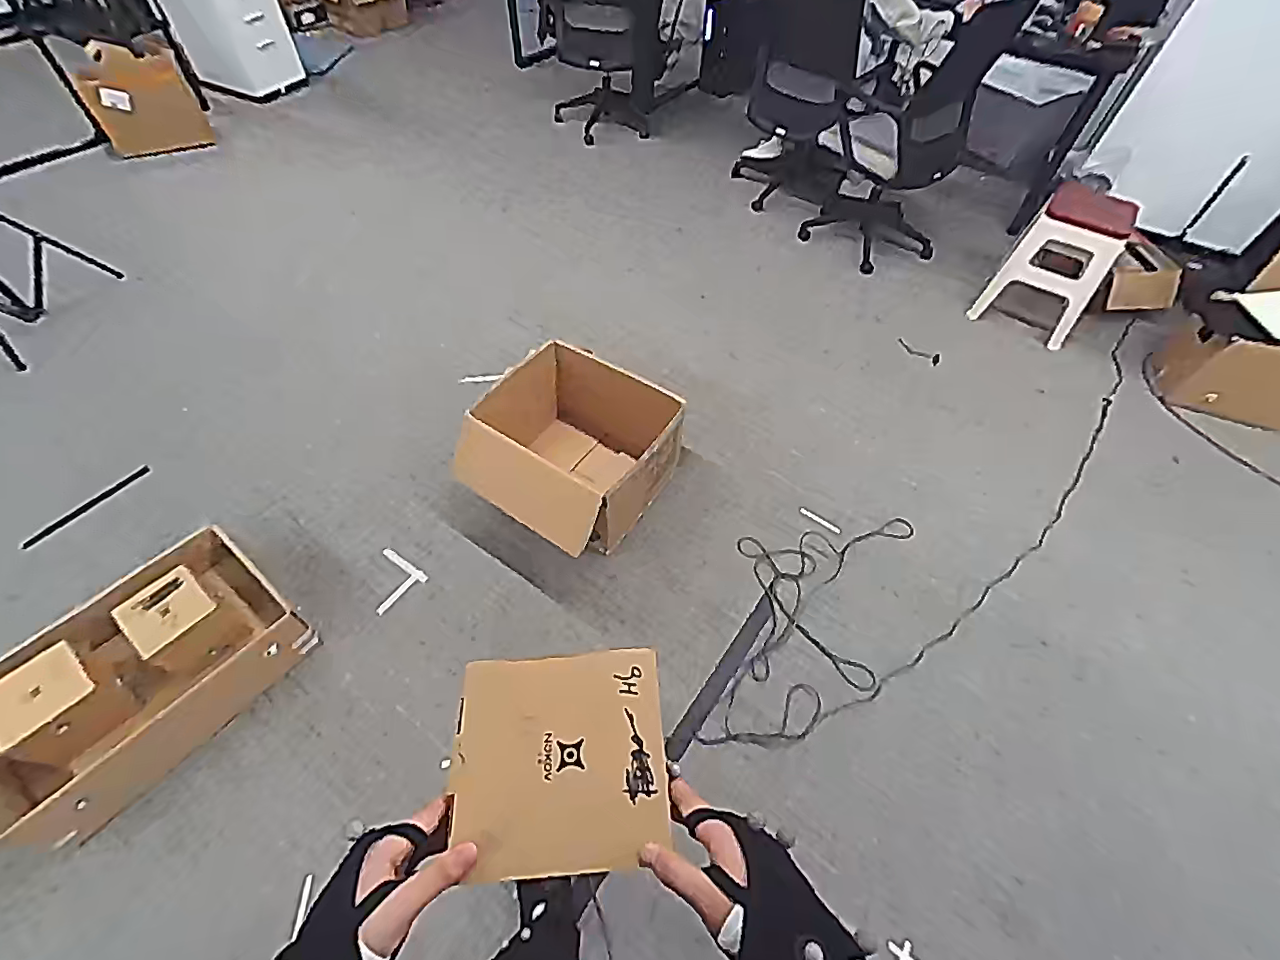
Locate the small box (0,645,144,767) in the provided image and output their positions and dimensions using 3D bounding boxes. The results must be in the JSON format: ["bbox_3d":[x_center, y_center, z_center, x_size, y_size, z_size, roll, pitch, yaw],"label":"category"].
[{"bbox_3d":[-1.299,0.516,1.224,0.168,0.176,0.179,36,58,19],"label":"small box"}]

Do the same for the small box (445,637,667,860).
[{"bbox_3d":[-0.069,0.265,0.527,0.179,0.176,0.168,-4,57,-2],"label":"small box"}]
